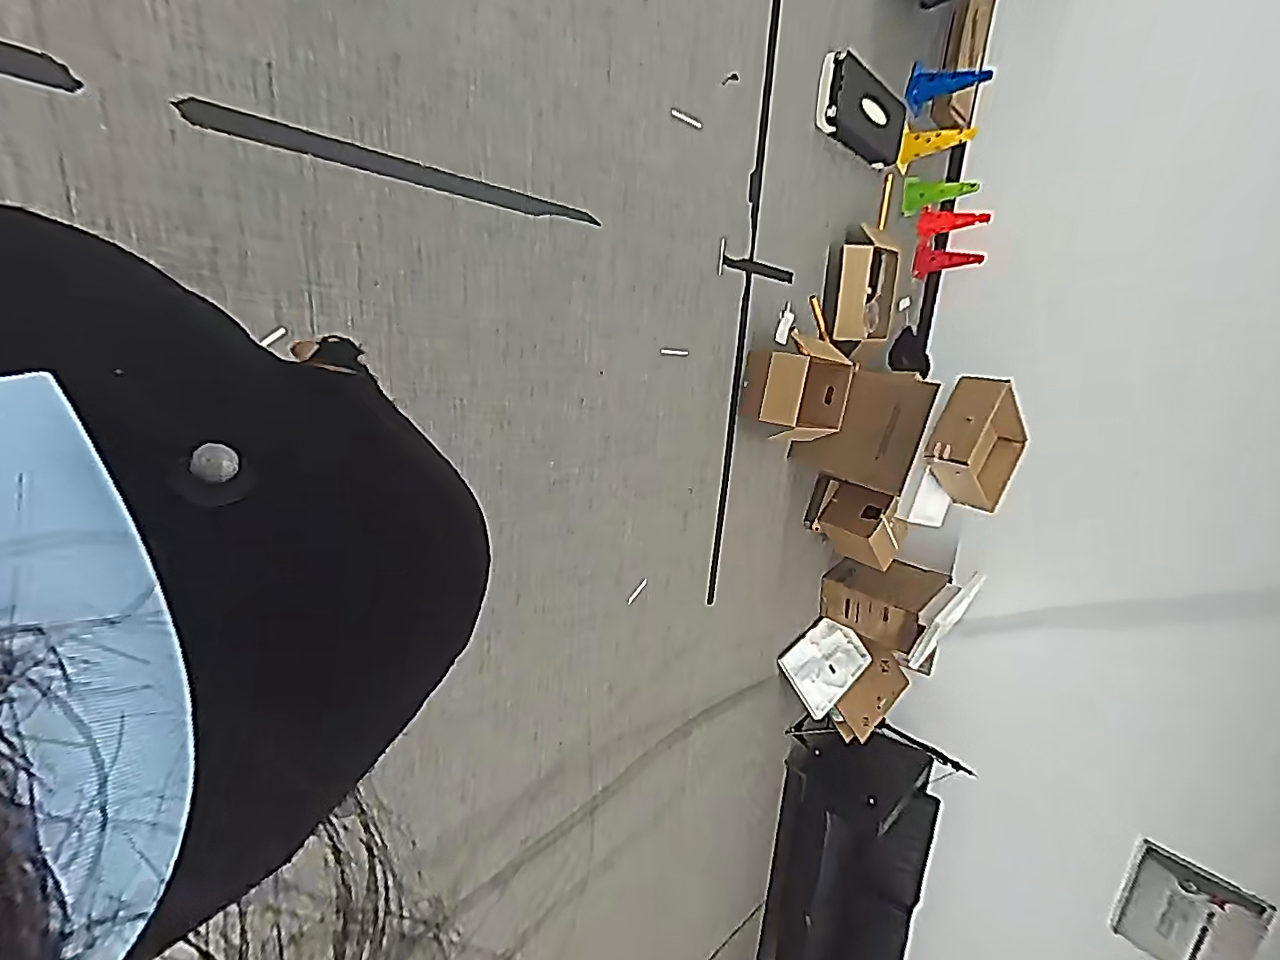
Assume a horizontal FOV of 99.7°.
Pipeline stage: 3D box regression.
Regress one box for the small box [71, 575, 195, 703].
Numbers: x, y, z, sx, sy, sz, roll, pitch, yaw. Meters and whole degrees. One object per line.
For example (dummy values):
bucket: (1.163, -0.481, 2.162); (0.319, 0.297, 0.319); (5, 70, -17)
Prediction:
small box: (-1.060, 0.325, 1.138); (0.168, 0.176, 0.179); (-11, 111, -42)
